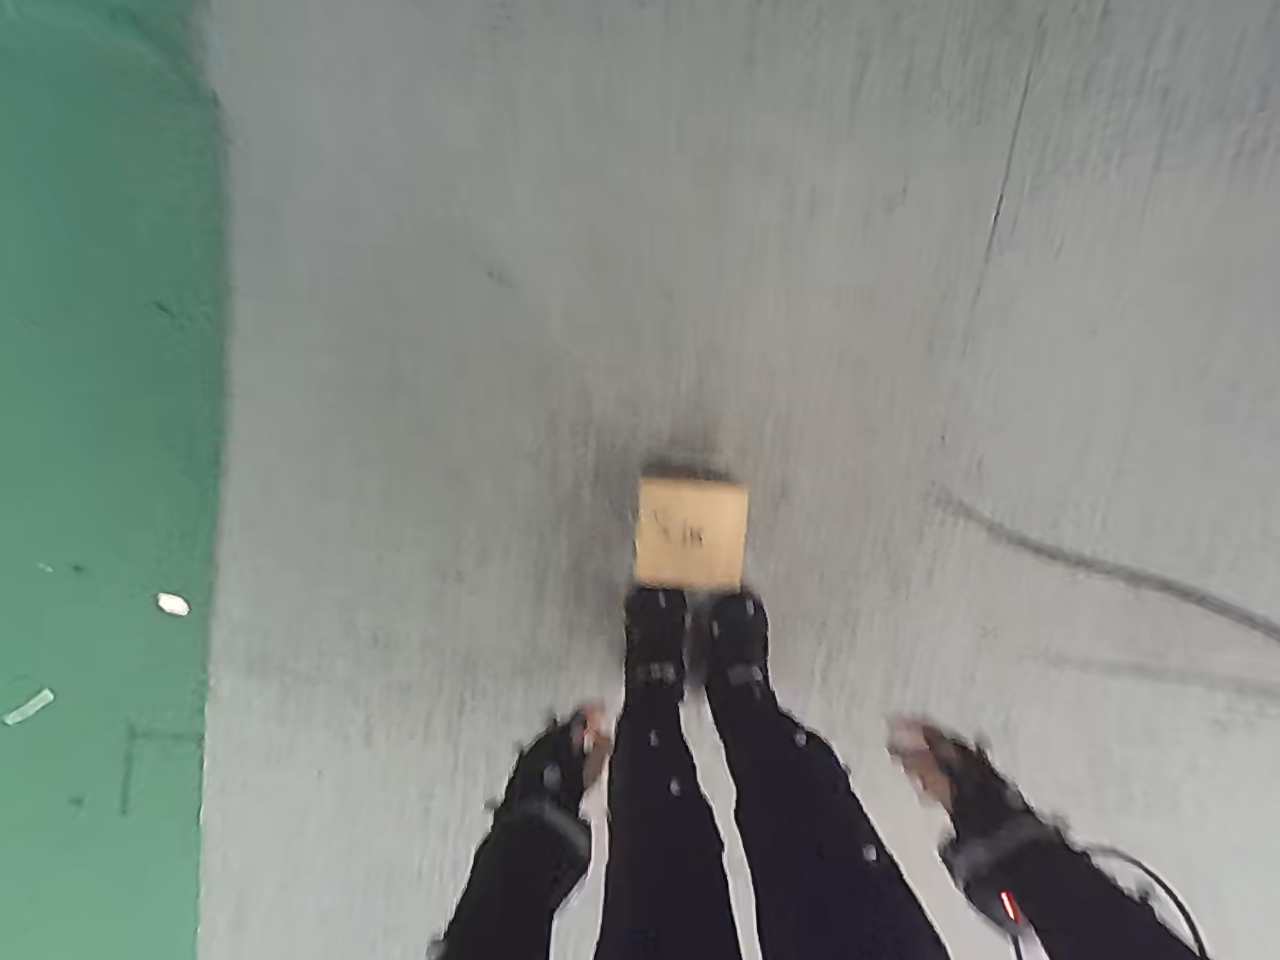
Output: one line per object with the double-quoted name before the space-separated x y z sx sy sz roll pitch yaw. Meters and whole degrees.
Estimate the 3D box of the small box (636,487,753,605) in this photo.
"small box" 0.086 0.107 0.948 0.179 0.176 0.168 5 97 0
